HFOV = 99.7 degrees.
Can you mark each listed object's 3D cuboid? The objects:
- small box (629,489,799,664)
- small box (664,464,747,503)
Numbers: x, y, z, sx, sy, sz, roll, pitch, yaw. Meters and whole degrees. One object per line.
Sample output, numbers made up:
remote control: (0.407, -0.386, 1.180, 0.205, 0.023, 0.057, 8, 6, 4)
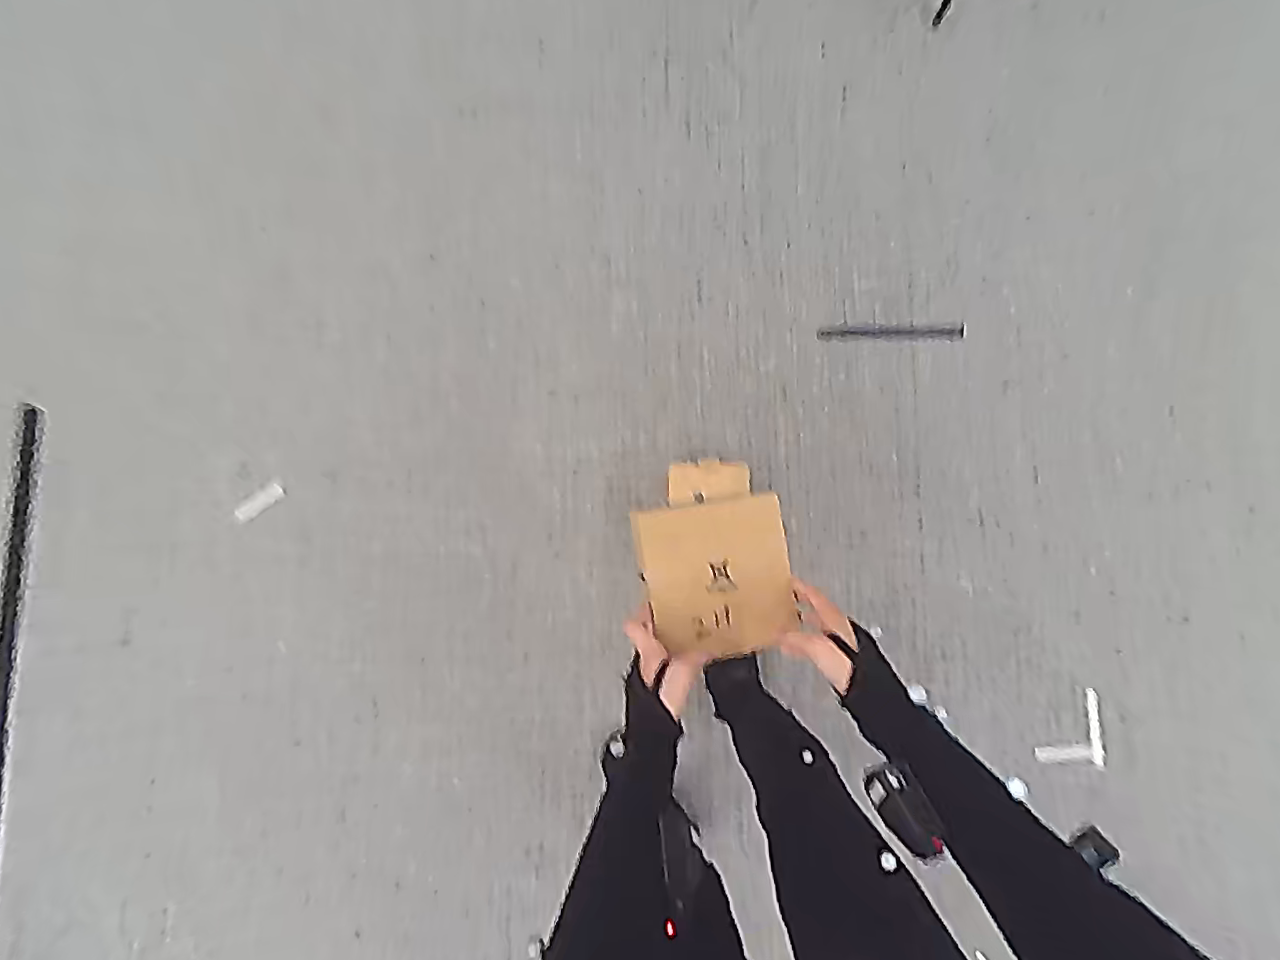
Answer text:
small box: (0.080, 0.112, 0.683, 0.168, 0.176, 0.179, -9, 88, -4)
small box: (0.138, 0.063, 1.182, 0.168, 0.176, 0.179, 0, 84, 0)
